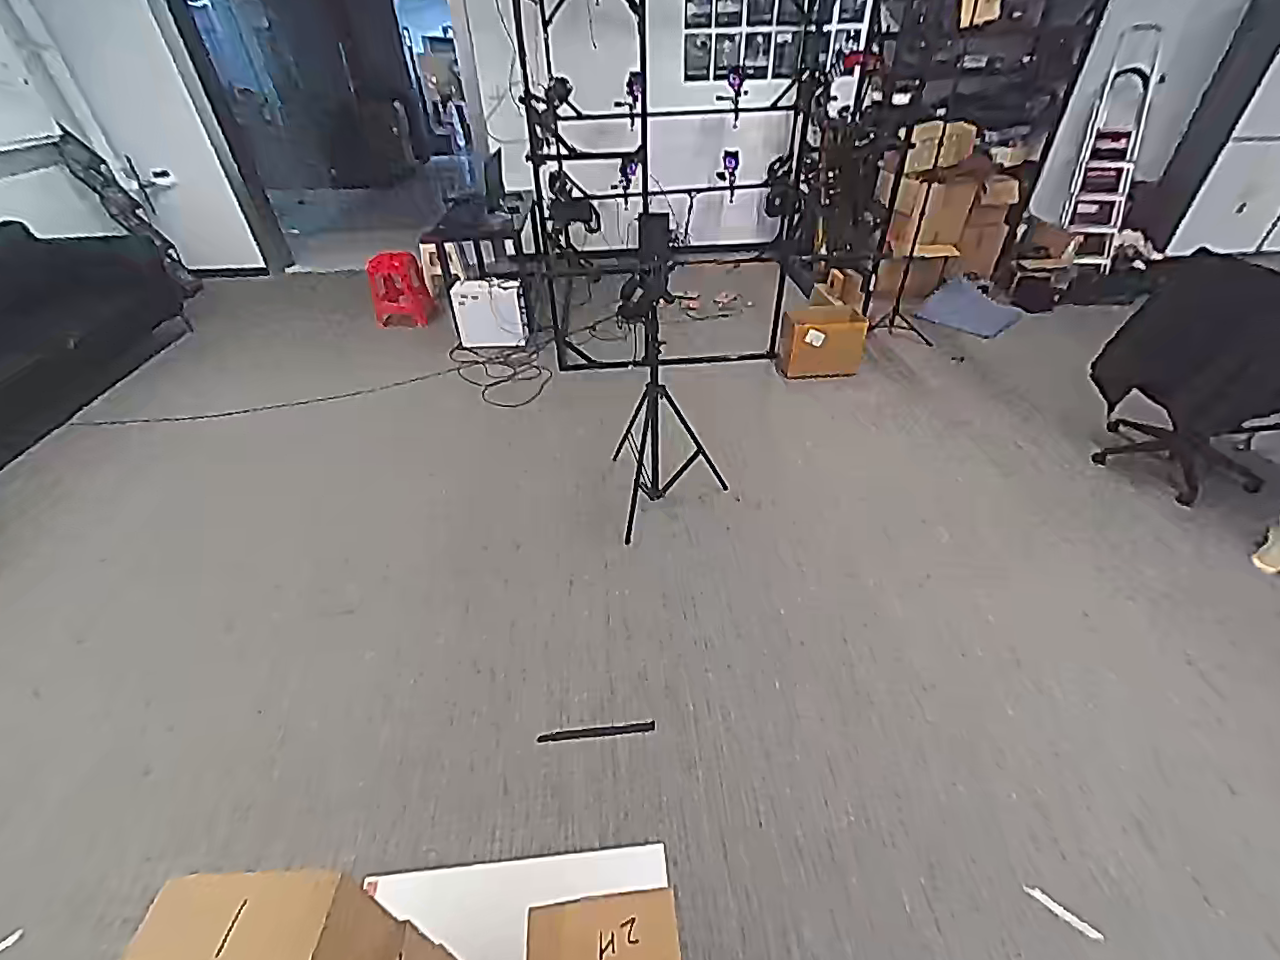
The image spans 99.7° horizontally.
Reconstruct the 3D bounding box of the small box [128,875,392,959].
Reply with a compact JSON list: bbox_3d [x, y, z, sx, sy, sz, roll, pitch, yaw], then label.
[{"bbox_3d":[-0.348,0.483,0.482,0.168,0.176,0.179,-2,38,0],"label":"small box"}]

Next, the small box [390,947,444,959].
[{"bbox_3d":[-0.331,0.736,0.692,0.168,0.176,0.179,-4,38,-3],"label":"small box"}]

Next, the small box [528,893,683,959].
[{"bbox_3d":[-0.029,0.591,0.593,0.168,0.176,0.179,-6,39,-3],"label":"small box"}]
